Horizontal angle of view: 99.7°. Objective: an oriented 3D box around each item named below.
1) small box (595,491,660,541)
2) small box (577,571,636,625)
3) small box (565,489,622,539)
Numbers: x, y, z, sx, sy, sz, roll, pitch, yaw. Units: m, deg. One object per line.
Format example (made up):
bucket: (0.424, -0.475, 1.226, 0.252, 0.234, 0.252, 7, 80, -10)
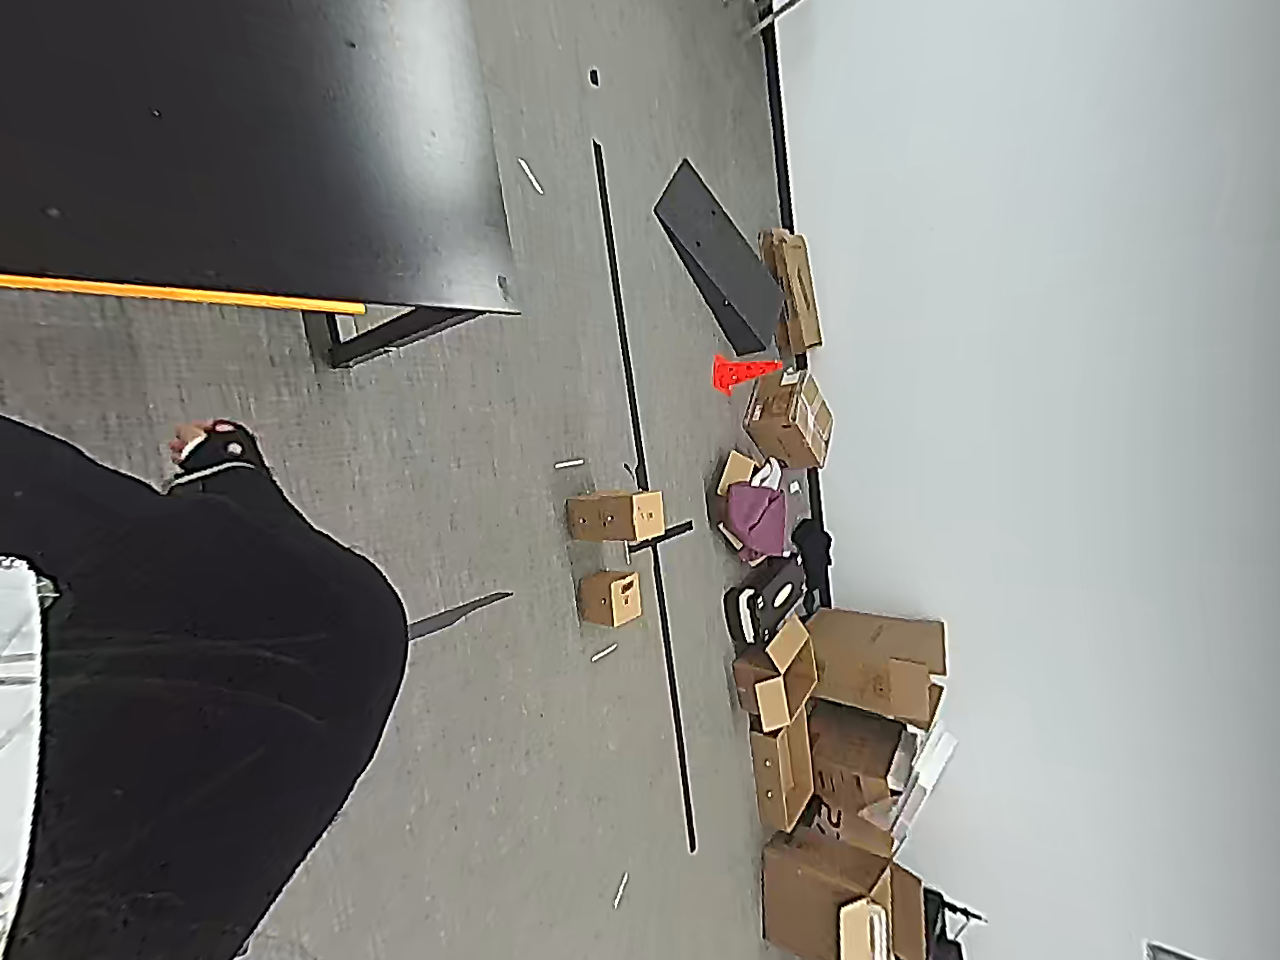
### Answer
small box: (-0.047, 0.130, 2.021, 0.179, 0.176, 0.168, -7, 93, -51)
small box: (-0.136, 0.464, 2.160, 0.168, 0.176, 0.179, -10, 97, -51)
small box: (-0.178, 0.134, 2.123, 0.179, 0.176, 0.168, -16, 100, -50)
